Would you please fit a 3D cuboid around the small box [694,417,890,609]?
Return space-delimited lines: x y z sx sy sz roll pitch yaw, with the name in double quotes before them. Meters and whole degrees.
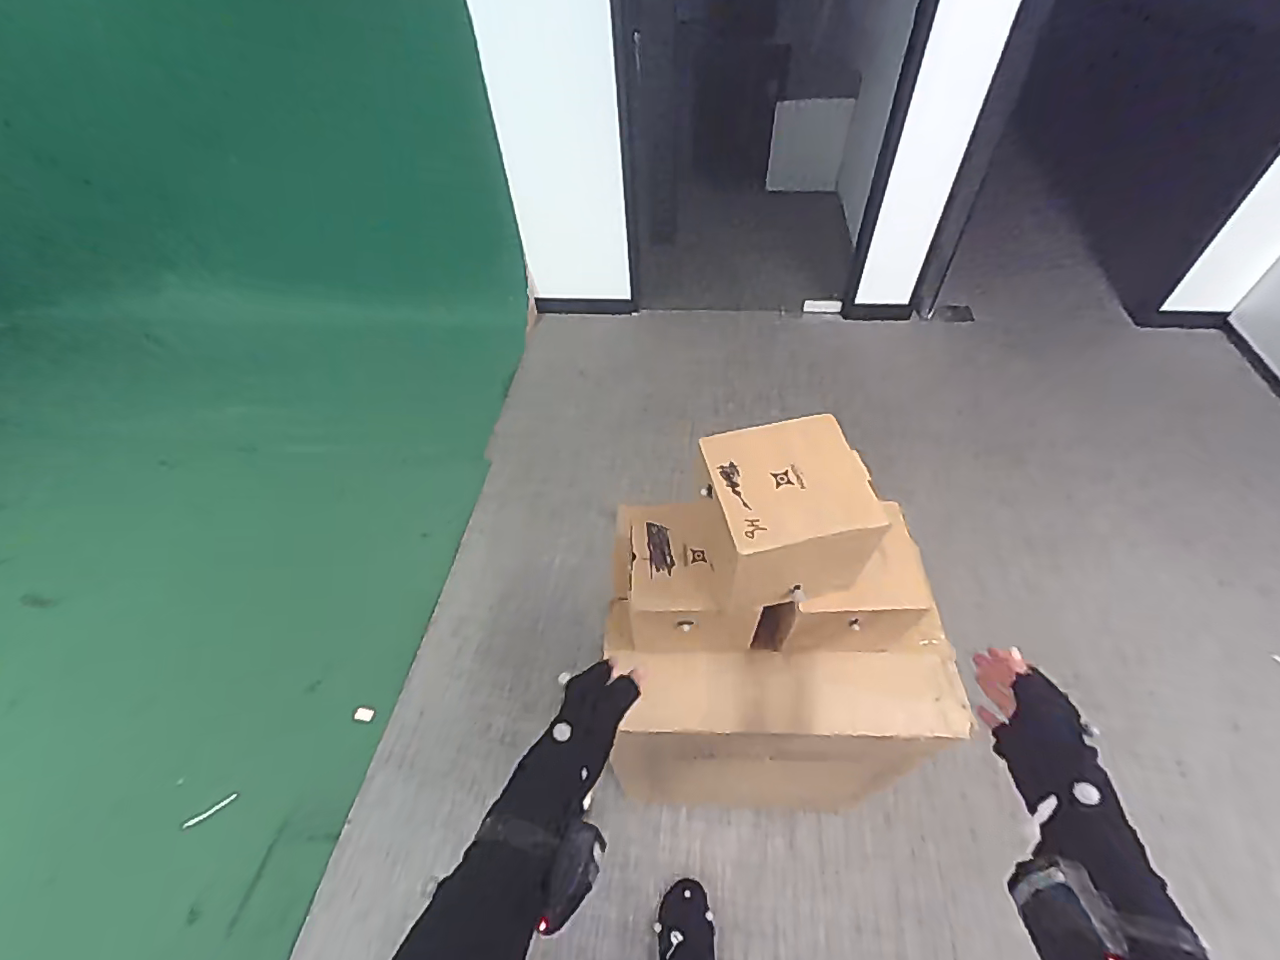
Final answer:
"small box" 0.175 0.047 0.689 0.179 0.176 0.168 -10 55 -6

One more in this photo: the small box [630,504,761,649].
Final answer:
"small box" 0.079 0.150 0.821 0.179 0.176 0.168 -1 55 2
